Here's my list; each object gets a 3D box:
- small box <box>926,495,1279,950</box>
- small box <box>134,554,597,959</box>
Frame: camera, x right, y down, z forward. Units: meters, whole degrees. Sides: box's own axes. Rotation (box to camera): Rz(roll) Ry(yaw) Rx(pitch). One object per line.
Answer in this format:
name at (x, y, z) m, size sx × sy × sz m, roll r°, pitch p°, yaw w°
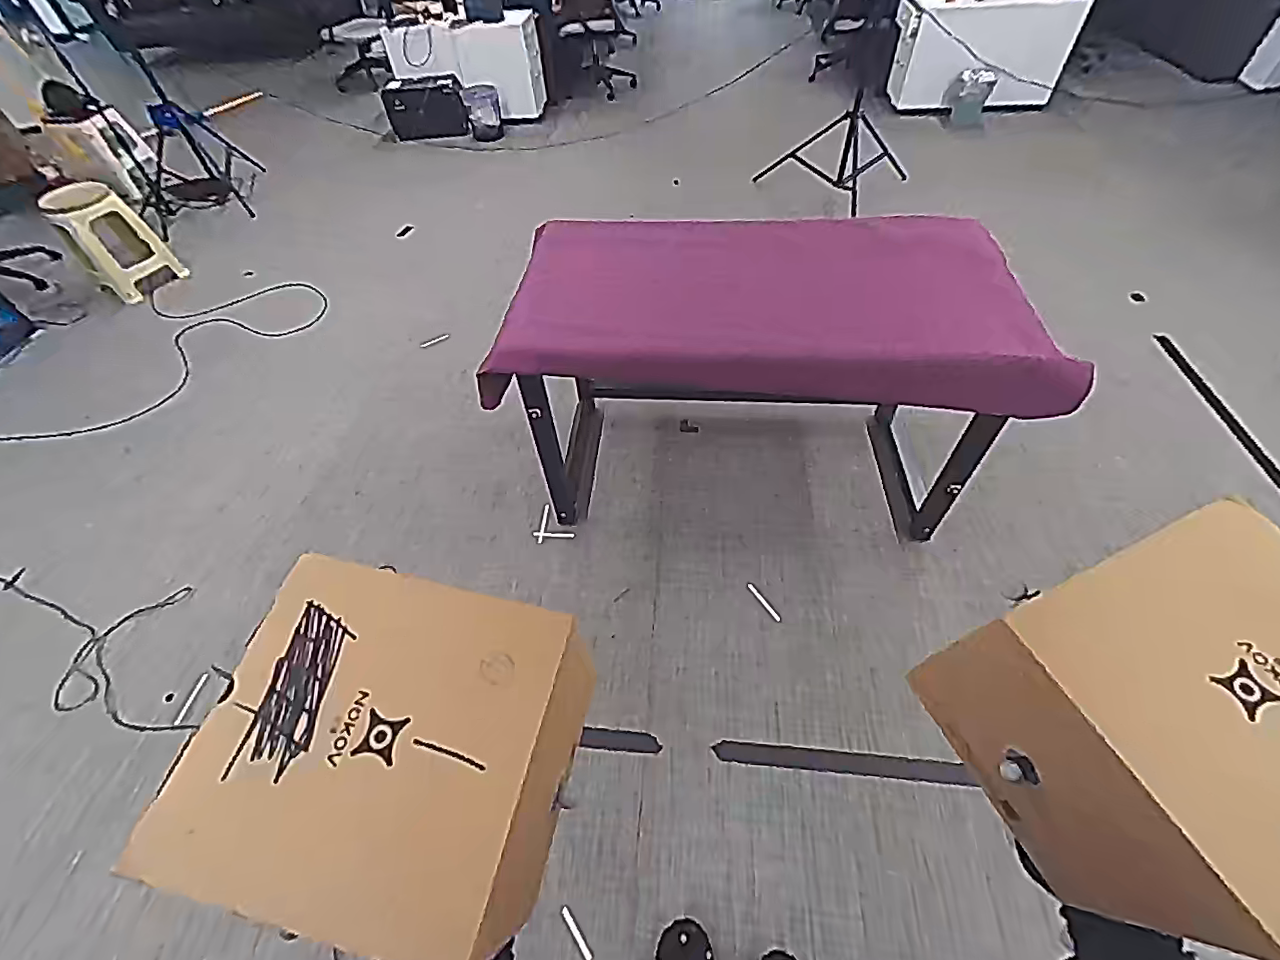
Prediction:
small box at (0.317, 0.144, 0.344) m, size 0.179 × 0.176 × 0.168 m, roll -23°, pitch 61°, yaw -9°
small box at (-0.135, 0.170, 0.349) m, size 0.179 × 0.176 × 0.168 m, roll 12°, pitch 60°, yaw 7°
